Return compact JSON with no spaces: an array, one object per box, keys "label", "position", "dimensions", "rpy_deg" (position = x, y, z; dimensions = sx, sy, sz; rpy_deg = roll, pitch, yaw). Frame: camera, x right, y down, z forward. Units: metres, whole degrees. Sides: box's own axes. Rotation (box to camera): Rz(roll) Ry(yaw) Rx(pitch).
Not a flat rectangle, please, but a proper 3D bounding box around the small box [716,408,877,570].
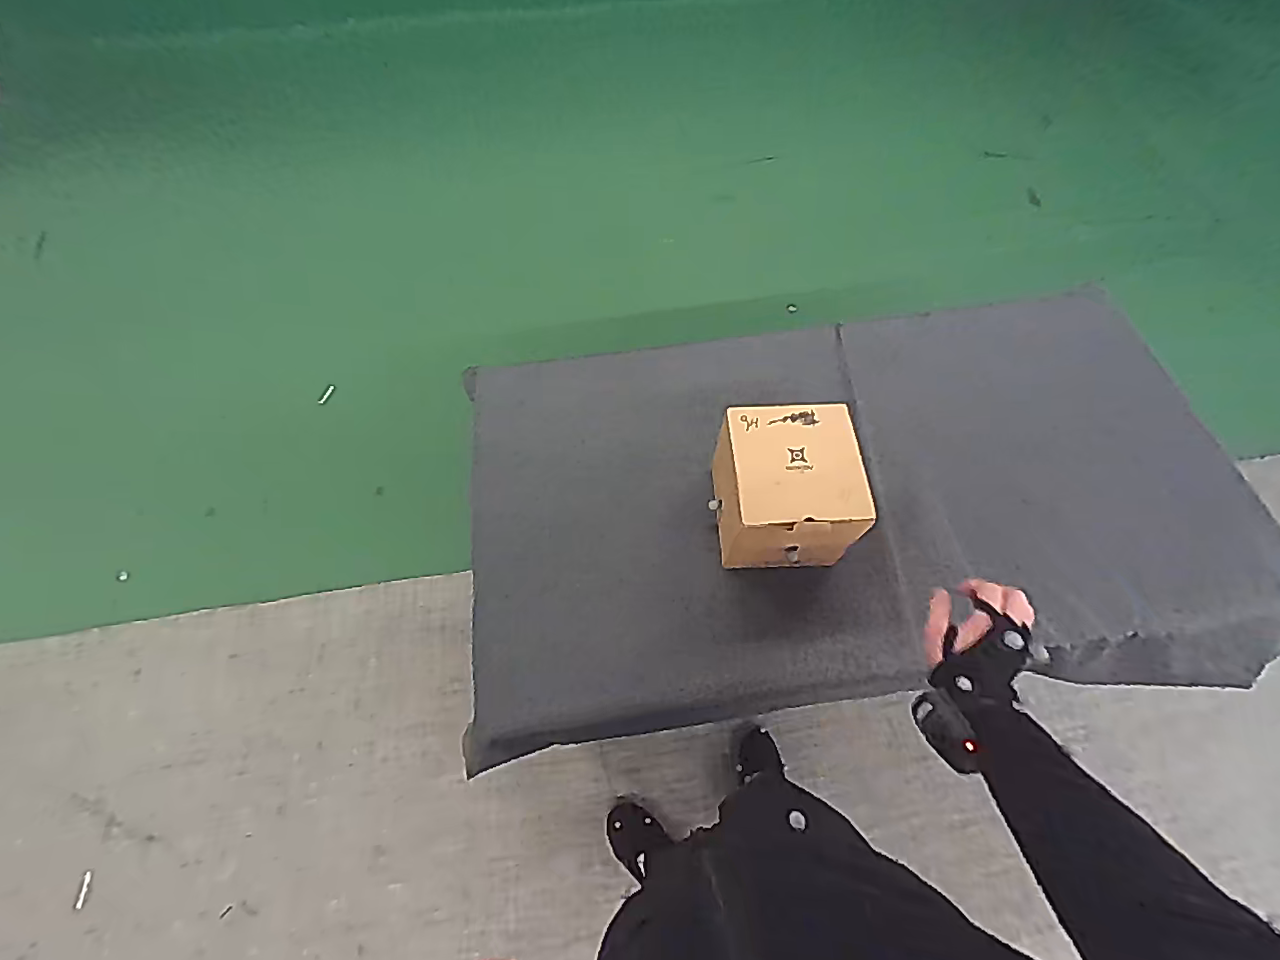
[{"label":"small box","position":[0.207,0.022,0.769],"dimensions":[0.168,0.176,0.179],"rpy_deg":[-5,62,-1]}]
